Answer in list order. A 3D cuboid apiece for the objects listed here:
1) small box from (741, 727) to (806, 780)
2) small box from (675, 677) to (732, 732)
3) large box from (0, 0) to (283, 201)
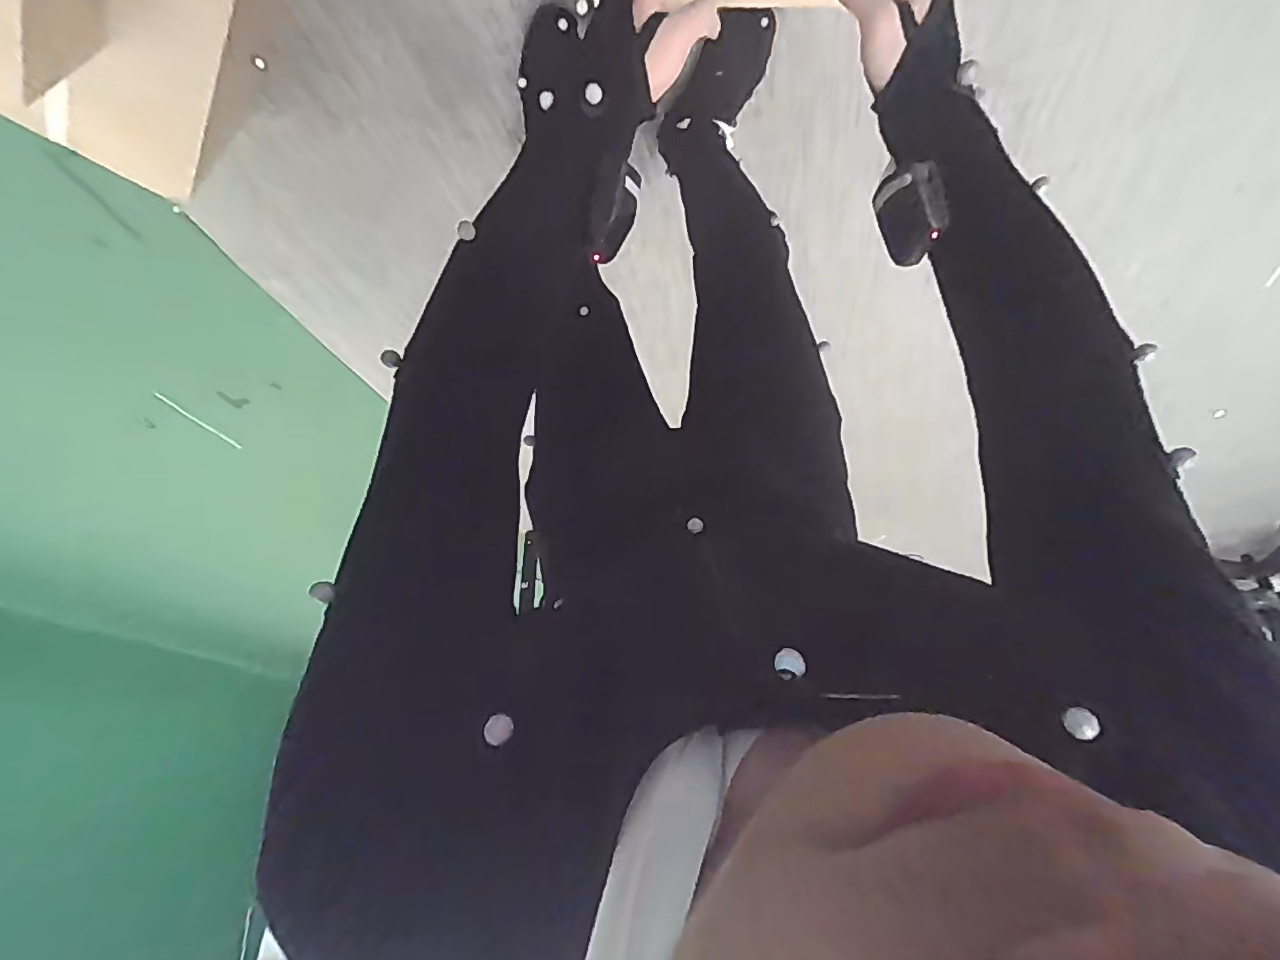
[{"bbox_3d":[0.501,1.047,2.066,0.168,0.176,0.179,14,145,-21],"label":"small box"},{"bbox_3d":[0.238,0.850,2.042,0.179,0.176,0.168,-11,148,16],"label":"small box"},{"bbox_3d":[-0.716,-0.712,0.750,0.320,0.320,0.408,26,140,-35],"label":"large box"}]
